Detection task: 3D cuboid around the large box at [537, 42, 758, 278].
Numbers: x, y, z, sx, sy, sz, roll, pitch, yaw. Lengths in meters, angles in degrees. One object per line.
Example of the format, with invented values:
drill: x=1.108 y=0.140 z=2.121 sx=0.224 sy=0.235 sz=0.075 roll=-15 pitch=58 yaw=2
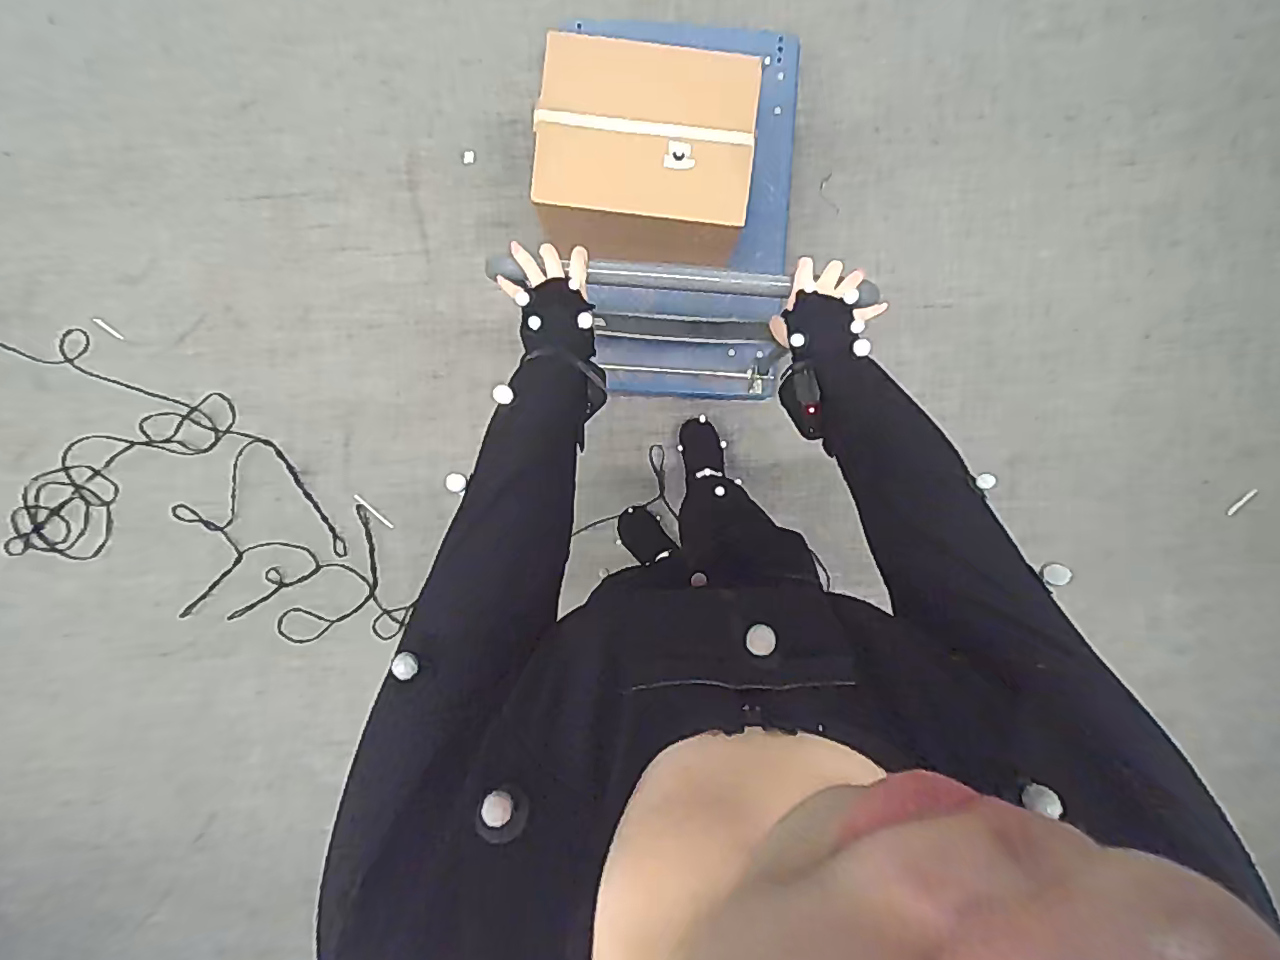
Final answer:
large box: x=0.009 y=-0.658 z=1.171 sx=0.408 sy=0.320 sz=0.320 roll=6 pitch=92 yaw=-1
